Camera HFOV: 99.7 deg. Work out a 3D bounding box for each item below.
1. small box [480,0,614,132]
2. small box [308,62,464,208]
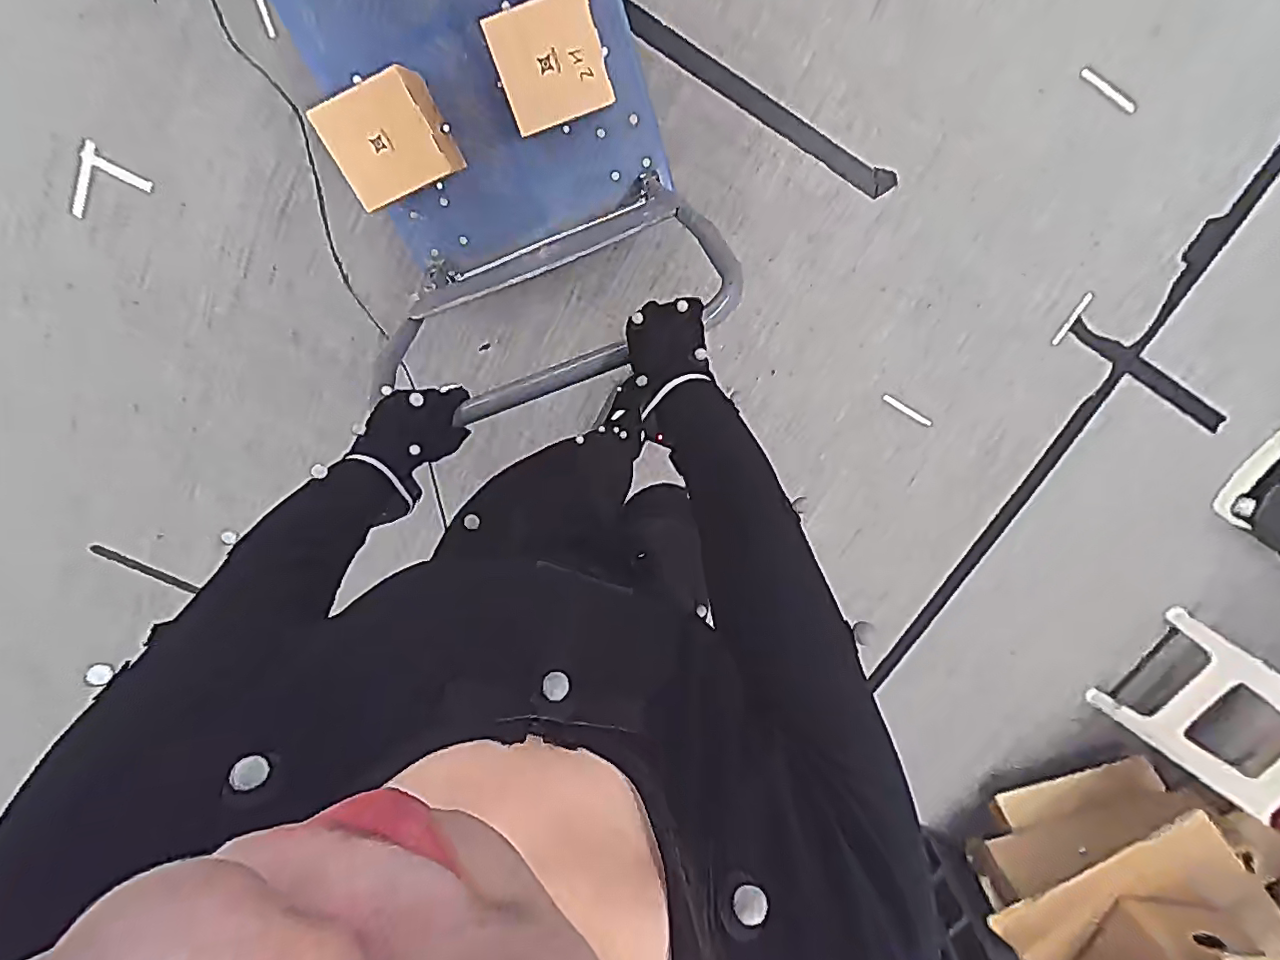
[{"bbox_3d":[-0.153,-0.730,0.951,0.179,0.176,0.168,-17,123,5],"label":"small box"},{"bbox_3d":[-0.449,-0.621,0.989,0.179,0.176,0.168,-23,122,6],"label":"small box"}]
